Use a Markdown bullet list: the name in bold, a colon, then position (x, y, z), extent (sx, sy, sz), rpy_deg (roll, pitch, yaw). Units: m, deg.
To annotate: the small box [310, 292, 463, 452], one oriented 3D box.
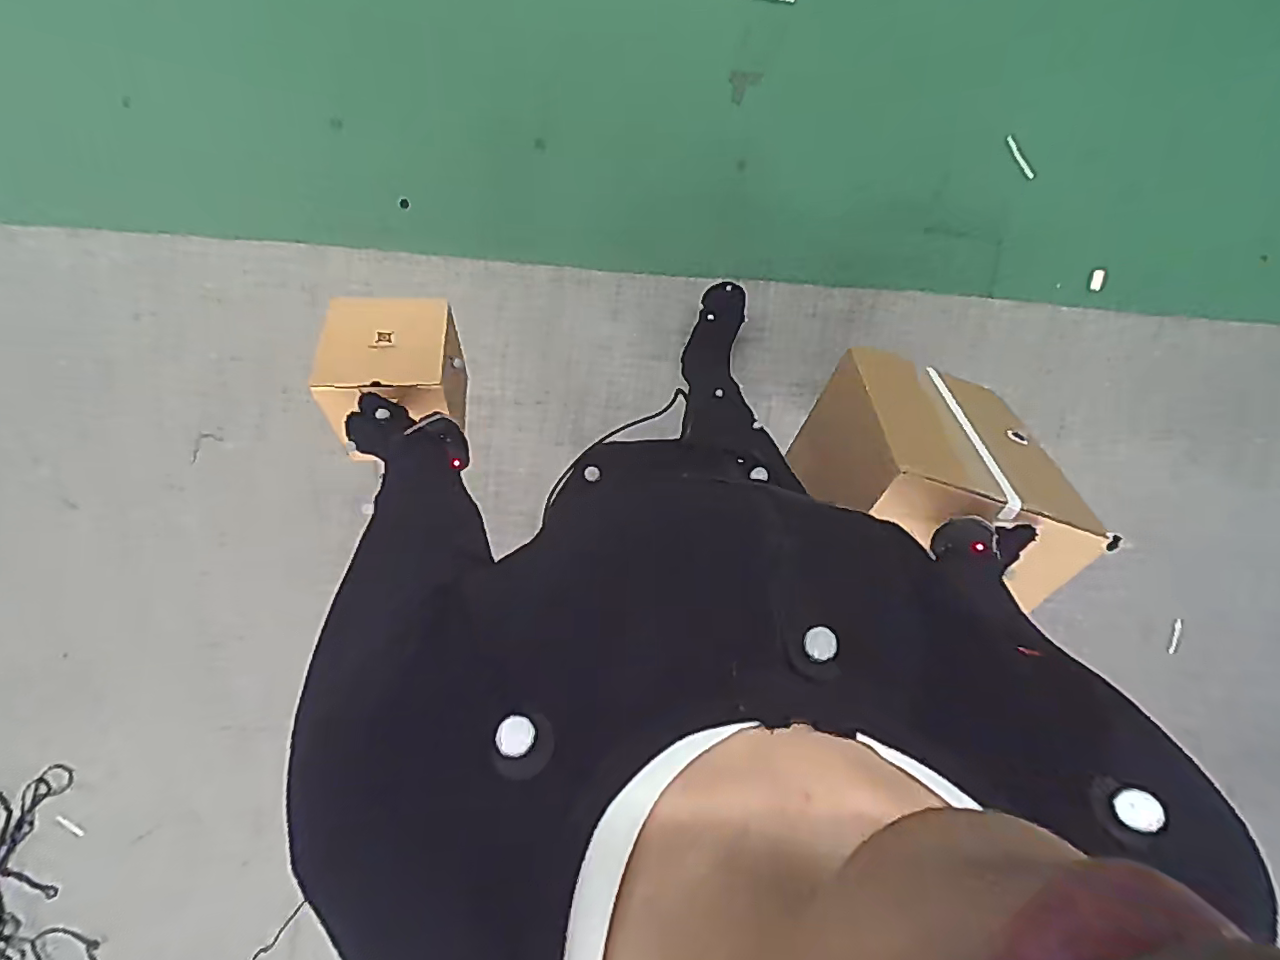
- **small box**: position (-0.368, -0.161, 0.822), extent (0.168, 0.176, 0.179), rpy_deg (-3, 60, -10)
